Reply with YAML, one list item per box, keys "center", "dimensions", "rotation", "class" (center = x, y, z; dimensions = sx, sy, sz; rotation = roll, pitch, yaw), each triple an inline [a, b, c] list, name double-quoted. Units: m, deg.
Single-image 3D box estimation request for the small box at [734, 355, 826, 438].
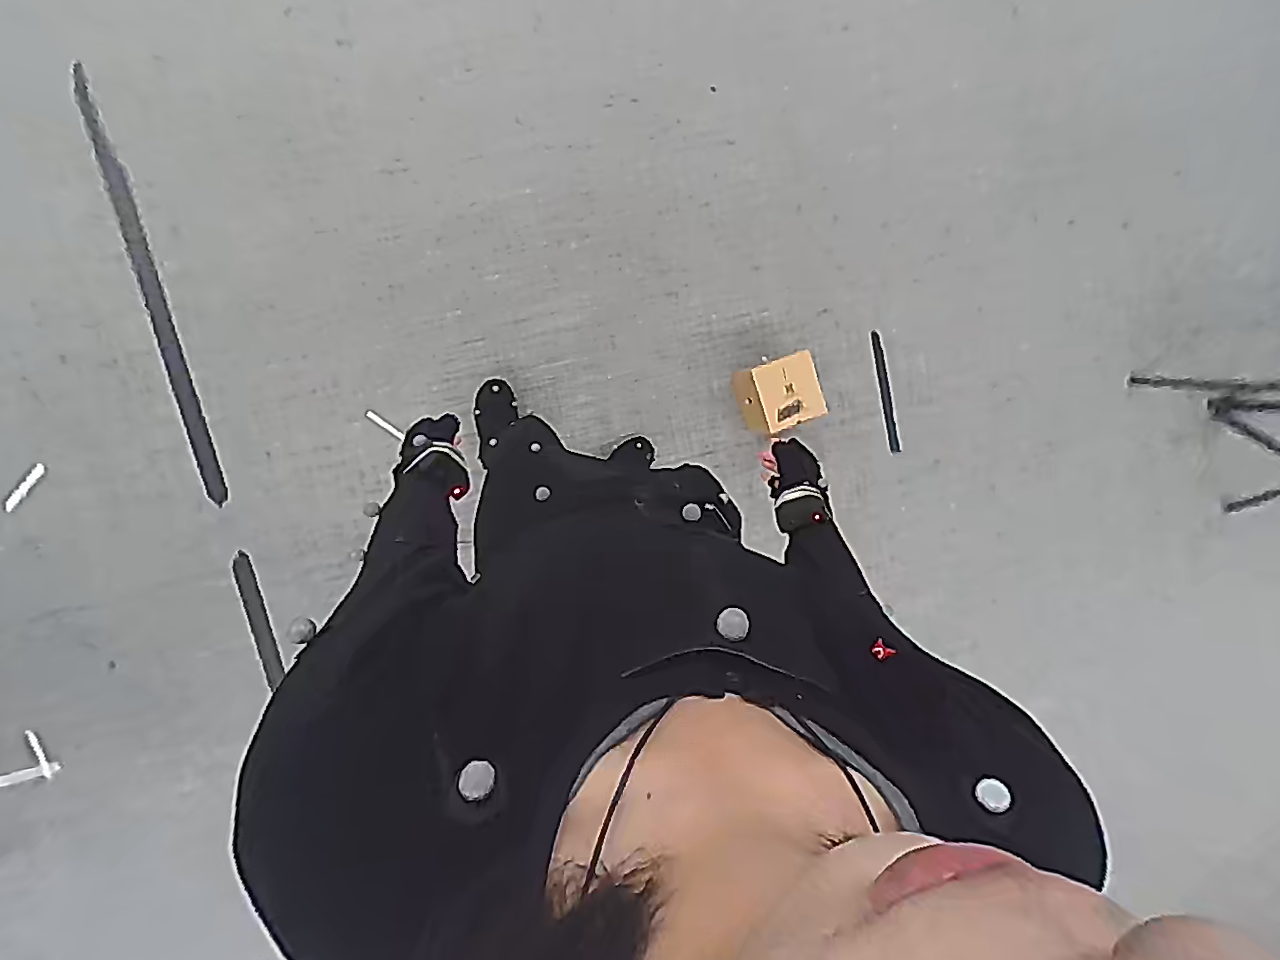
- center: [0.372, -0.222, 1.462]
  dimensions: [0.168, 0.176, 0.179]
  rotation: [-20, 97, -5]
  class: "small box"
